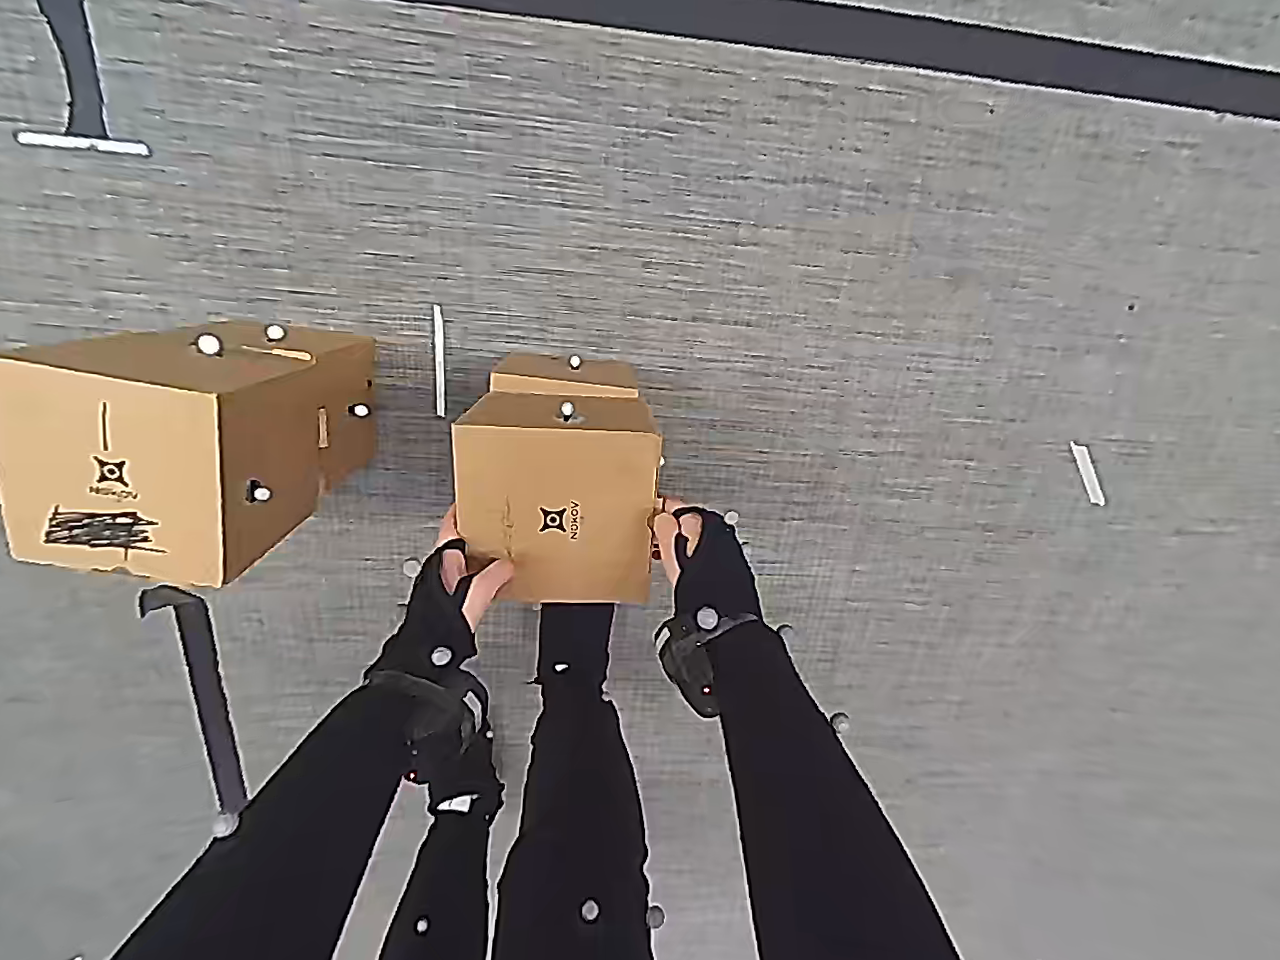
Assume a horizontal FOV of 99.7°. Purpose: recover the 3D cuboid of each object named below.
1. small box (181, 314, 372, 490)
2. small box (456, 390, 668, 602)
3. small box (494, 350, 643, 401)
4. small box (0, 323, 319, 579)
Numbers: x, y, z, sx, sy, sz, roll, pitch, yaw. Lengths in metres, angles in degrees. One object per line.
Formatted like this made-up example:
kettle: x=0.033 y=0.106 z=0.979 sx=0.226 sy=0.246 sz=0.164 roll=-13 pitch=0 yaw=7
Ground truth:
small box: x=-0.438 y=-0.101 z=0.654 sx=0.179 sy=0.176 sz=0.168 roll=6 pitch=111 yaw=-8
small box: x=-0.075 y=0.006 z=0.542 sx=0.179 sy=0.176 sz=0.168 roll=3 pitch=108 yaw=-5
small box: x=-0.094 y=-0.063 z=0.694 sx=0.168 sy=0.176 sz=0.179 roll=6 pitch=111 yaw=-6
small box: x=-0.423 y=-0.036 z=0.503 sx=0.168 sy=0.176 sz=0.179 roll=10 pitch=110 yaw=-8
